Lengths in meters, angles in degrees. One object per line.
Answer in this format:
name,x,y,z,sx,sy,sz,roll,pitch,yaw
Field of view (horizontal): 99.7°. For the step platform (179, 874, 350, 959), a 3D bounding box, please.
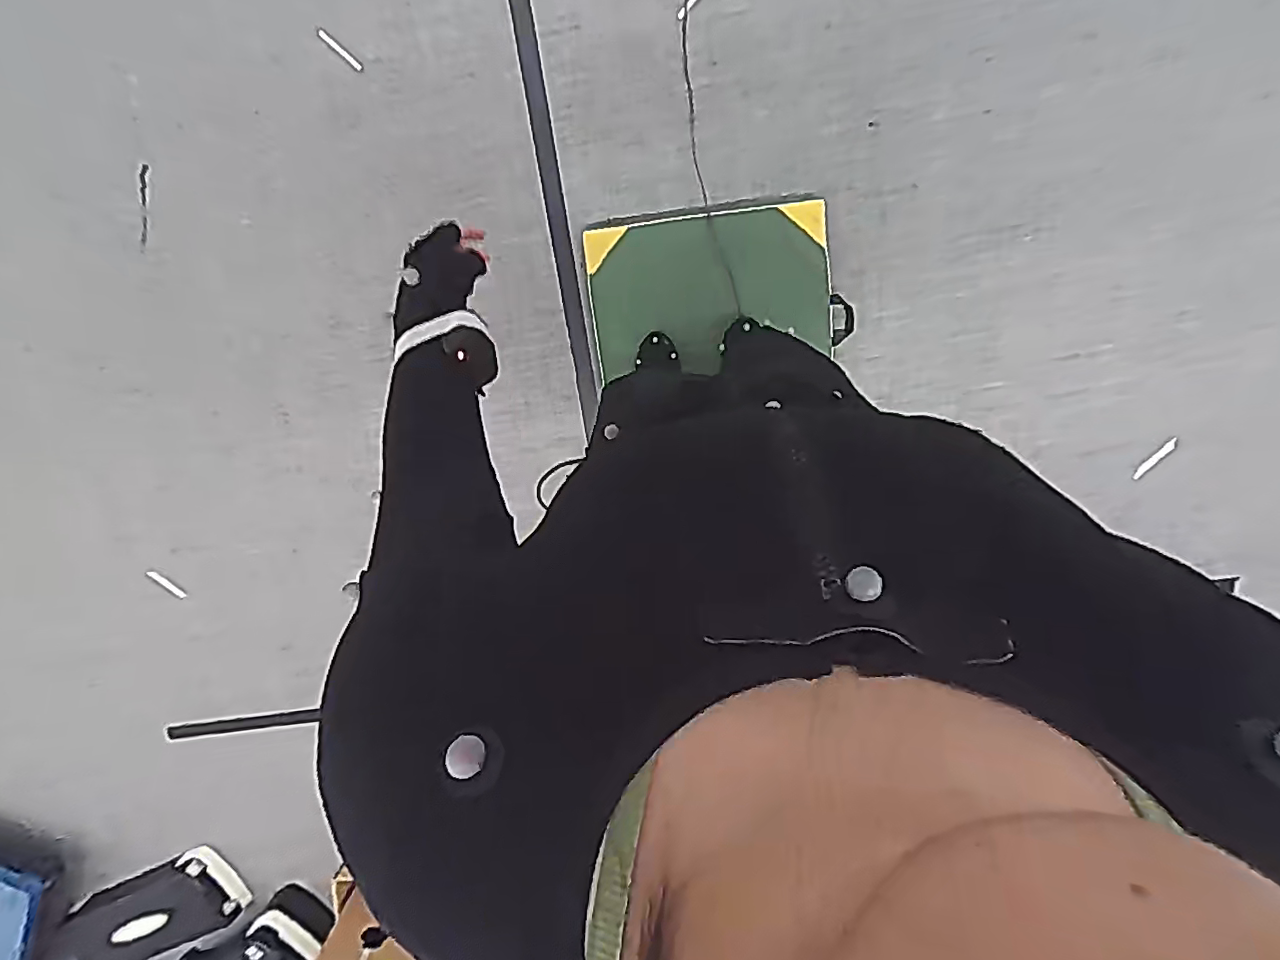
step platform,-1.413,1.741,1.962,0.684,0.204,0.286,-37,101,10
